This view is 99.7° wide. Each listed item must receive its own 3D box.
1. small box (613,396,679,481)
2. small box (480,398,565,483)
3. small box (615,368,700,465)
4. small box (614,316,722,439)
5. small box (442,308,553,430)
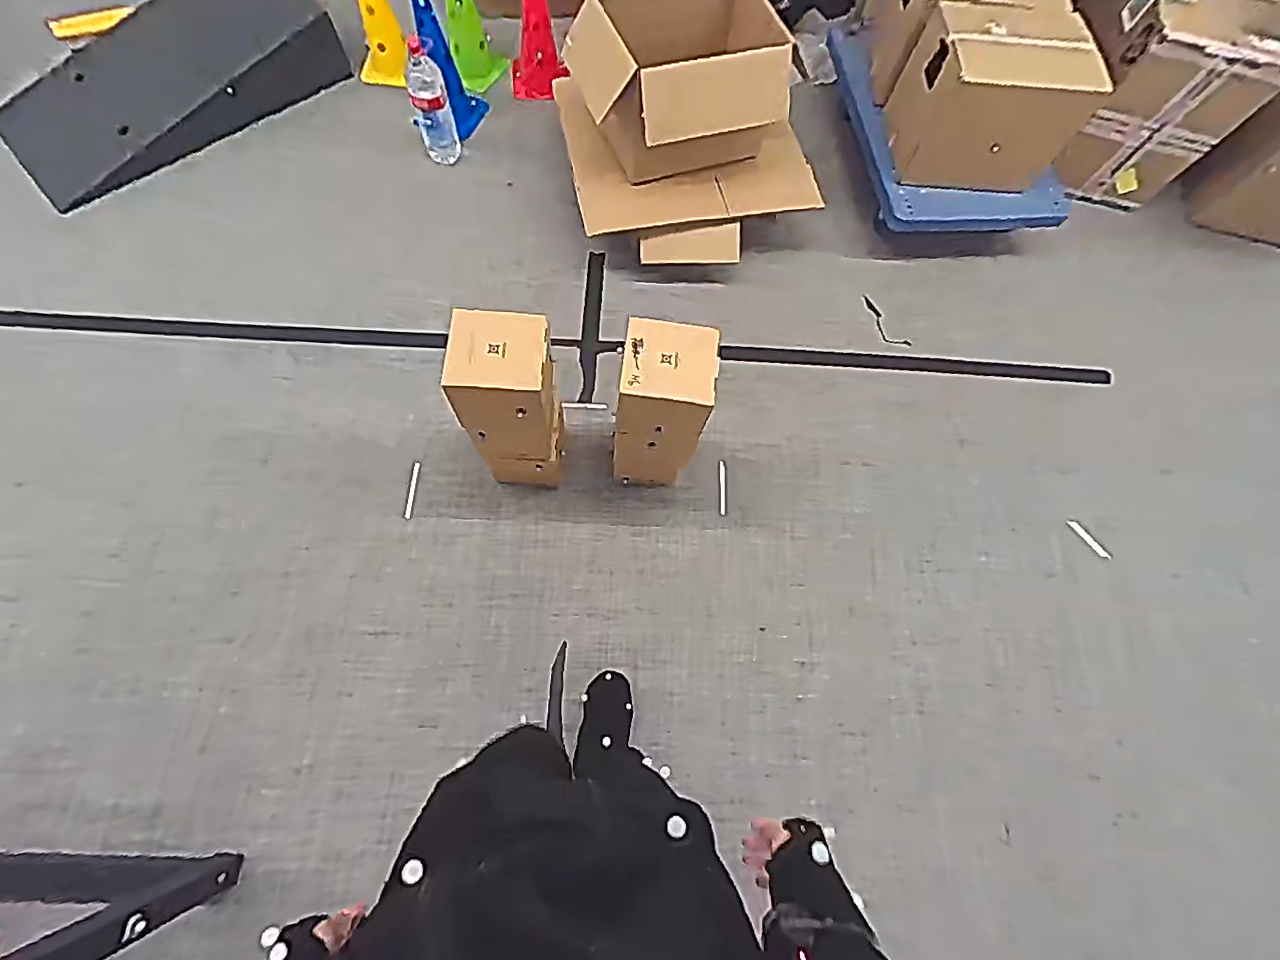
[{"bbox_3d":[0.018,-0.104,1.377,0.168,0.176,0.179,3,70,-5],"label":"small box"},{"bbox_3d":[-0.285,-0.099,1.349,0.179,0.176,0.168,4,70,-4],"label":"small box"},{"bbox_3d":[0.036,-0.142,1.216,0.179,0.176,0.168,5,71,-4],"label":"small box"},{"bbox_3d":[0.050,-0.192,1.061,0.179,0.176,0.168,8,70,-3],"label":"small box"},{"bbox_3d":[-0.262,-0.206,1.040,0.179,0.176,0.168,2,69,-4],"label":"small box"}]
